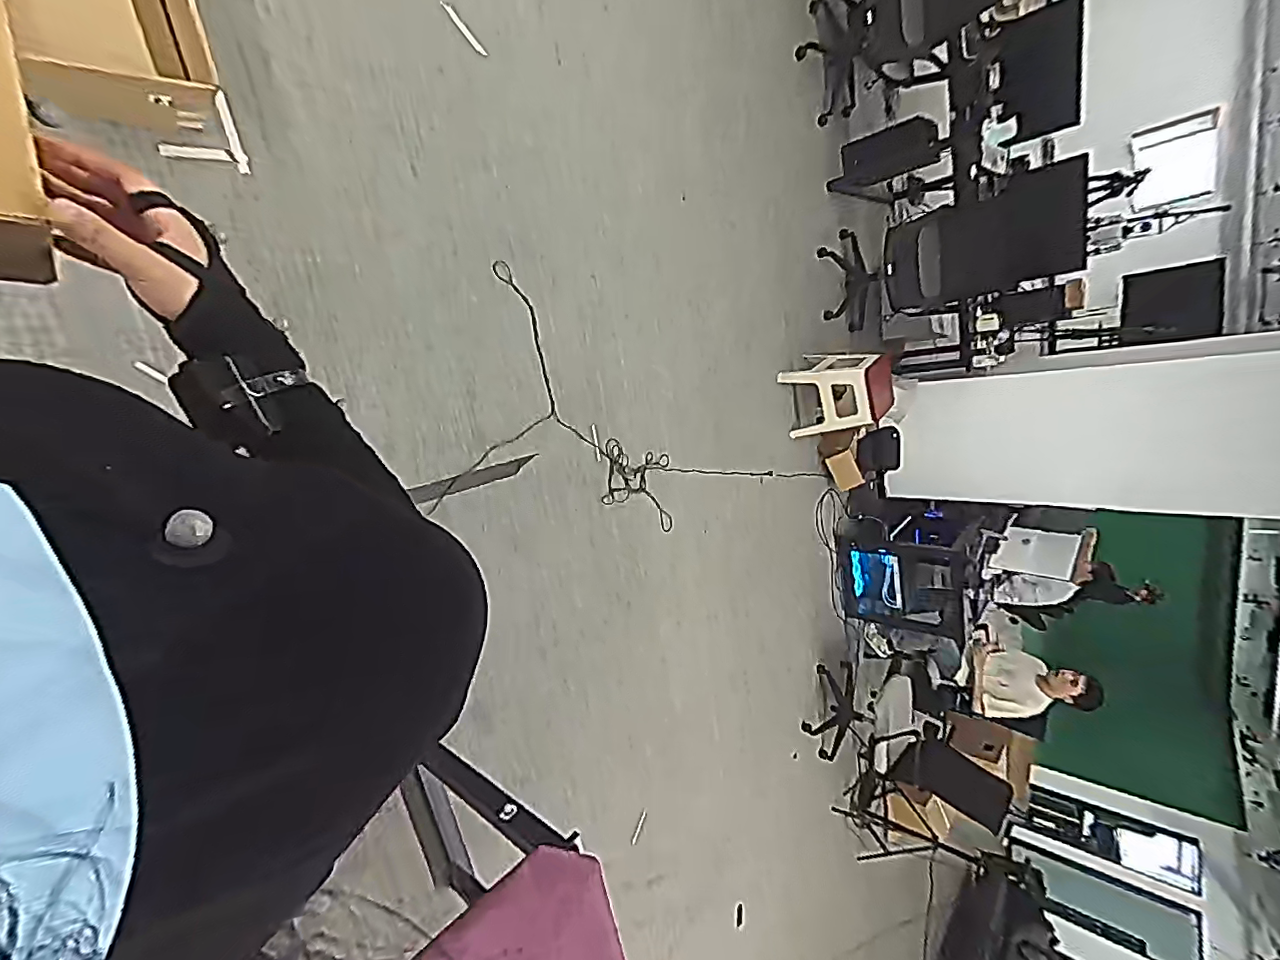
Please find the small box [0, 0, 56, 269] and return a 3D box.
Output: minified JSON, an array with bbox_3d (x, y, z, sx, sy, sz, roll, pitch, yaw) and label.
[{"bbox_3d":[-0.462,-0.235,0.301,0.168,0.176,0.179,-12,102,-46],"label":"small box"}]
